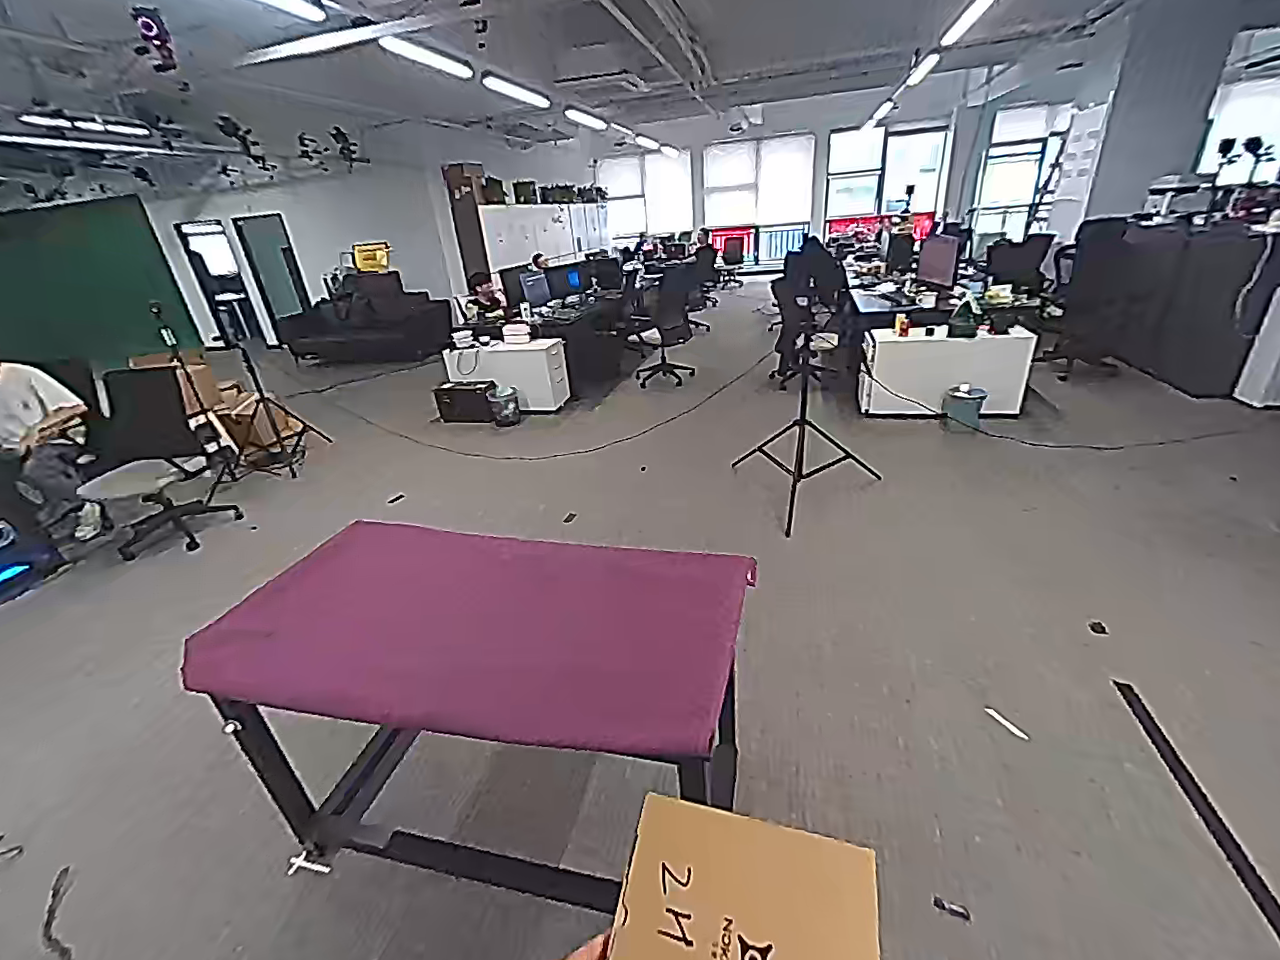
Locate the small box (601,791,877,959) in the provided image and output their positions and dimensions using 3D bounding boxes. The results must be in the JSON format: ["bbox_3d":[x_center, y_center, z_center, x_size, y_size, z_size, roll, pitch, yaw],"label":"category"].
[{"bbox_3d":[0.071,0.371,0.408,0.179,0.176,0.168,6,42,16],"label":"small box"}]
